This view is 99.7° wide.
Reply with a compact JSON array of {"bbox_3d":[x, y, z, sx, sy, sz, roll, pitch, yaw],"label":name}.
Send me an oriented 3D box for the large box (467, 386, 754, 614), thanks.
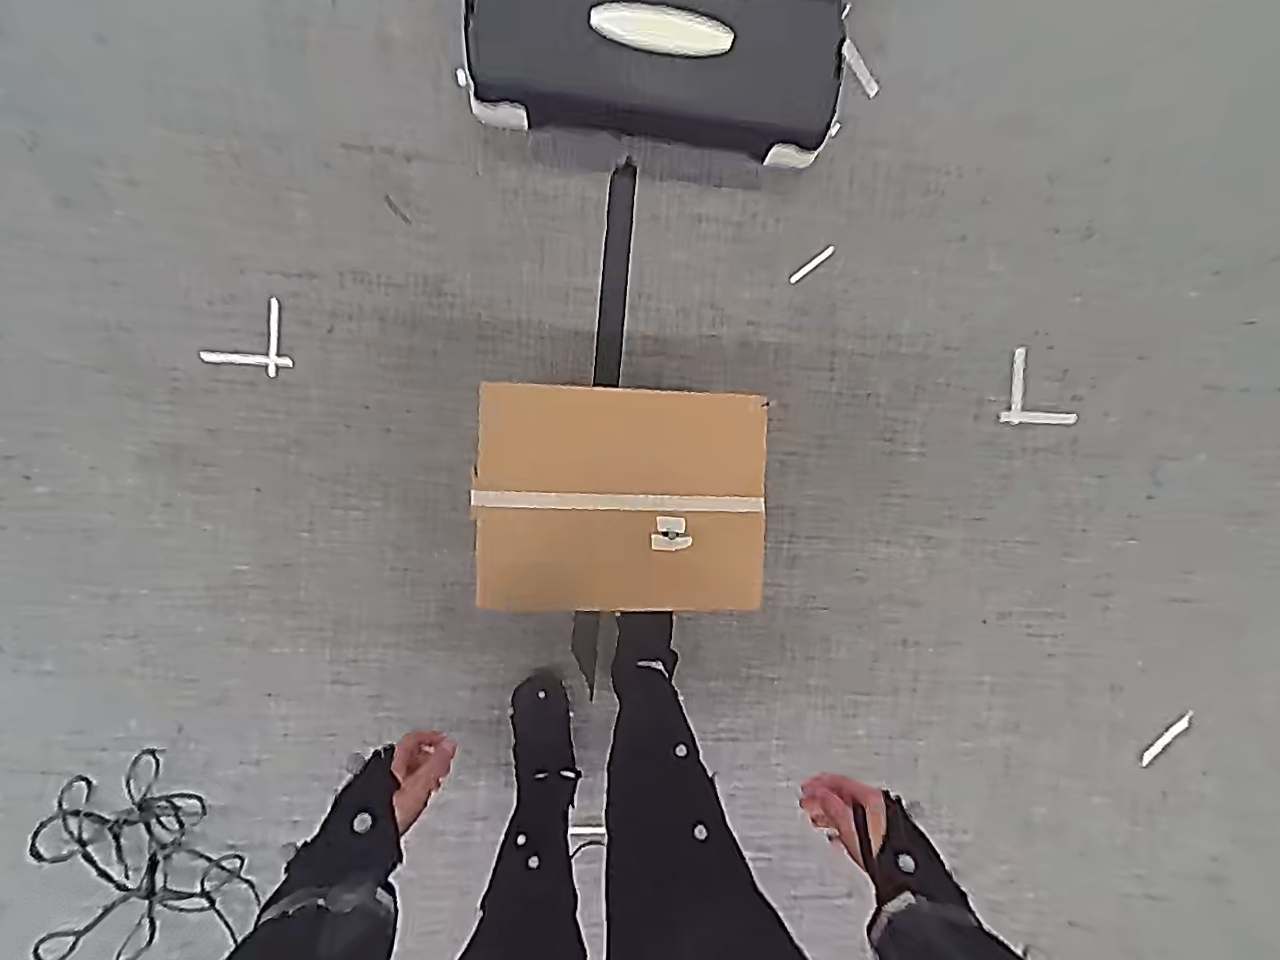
[{"bbox_3d":[-0.055,0.024,0.897,0.408,0.320,0.320,1,93,-7],"label":"large box"}]
